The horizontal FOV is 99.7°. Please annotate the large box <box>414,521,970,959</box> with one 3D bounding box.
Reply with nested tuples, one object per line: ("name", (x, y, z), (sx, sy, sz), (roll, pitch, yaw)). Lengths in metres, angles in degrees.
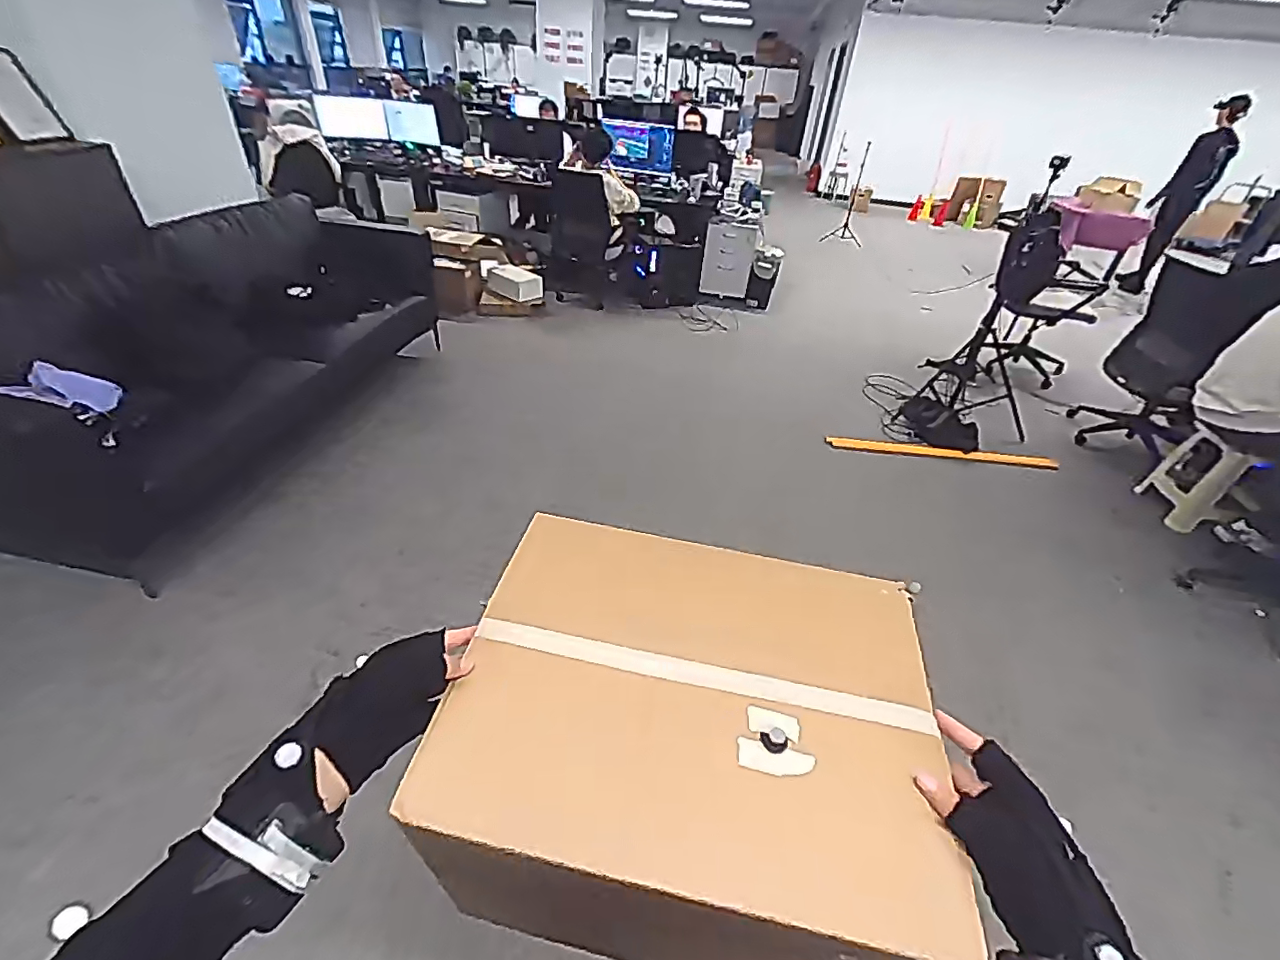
("large box", (0.043, 0.286, 0.583), (0.408, 0.320, 0.320), (10, 42, 6))
